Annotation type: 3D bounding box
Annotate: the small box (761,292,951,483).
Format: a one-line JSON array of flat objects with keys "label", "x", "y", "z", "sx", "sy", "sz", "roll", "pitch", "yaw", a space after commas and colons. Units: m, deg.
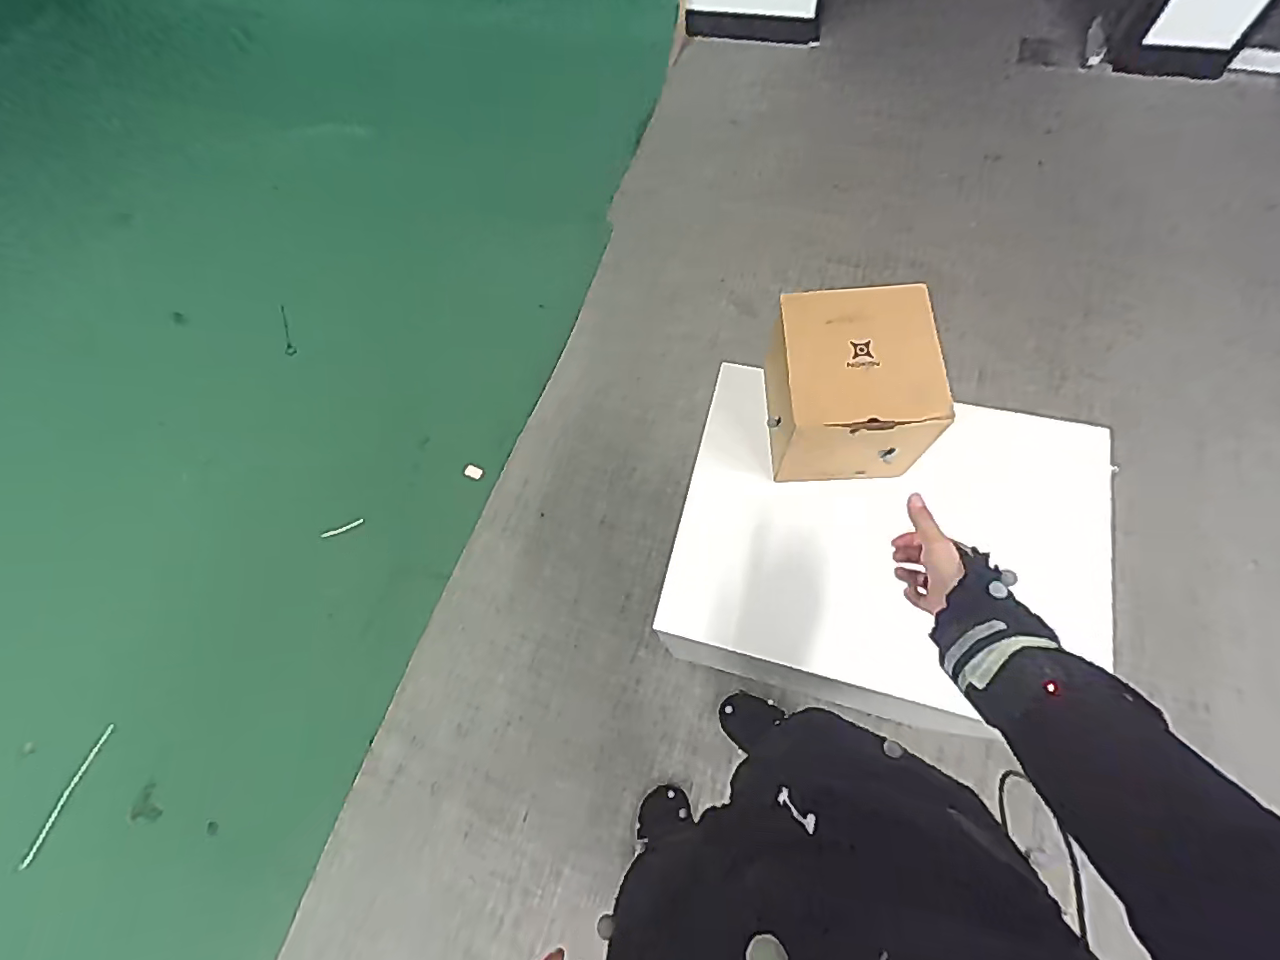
[{"label": "small box", "x": 0.245, "y": -0.100, "z": 0.661, "sx": 0.168, "sy": 0.176, "sz": 0.179, "roll": -2, "pitch": 68, "yaw": 4}]
